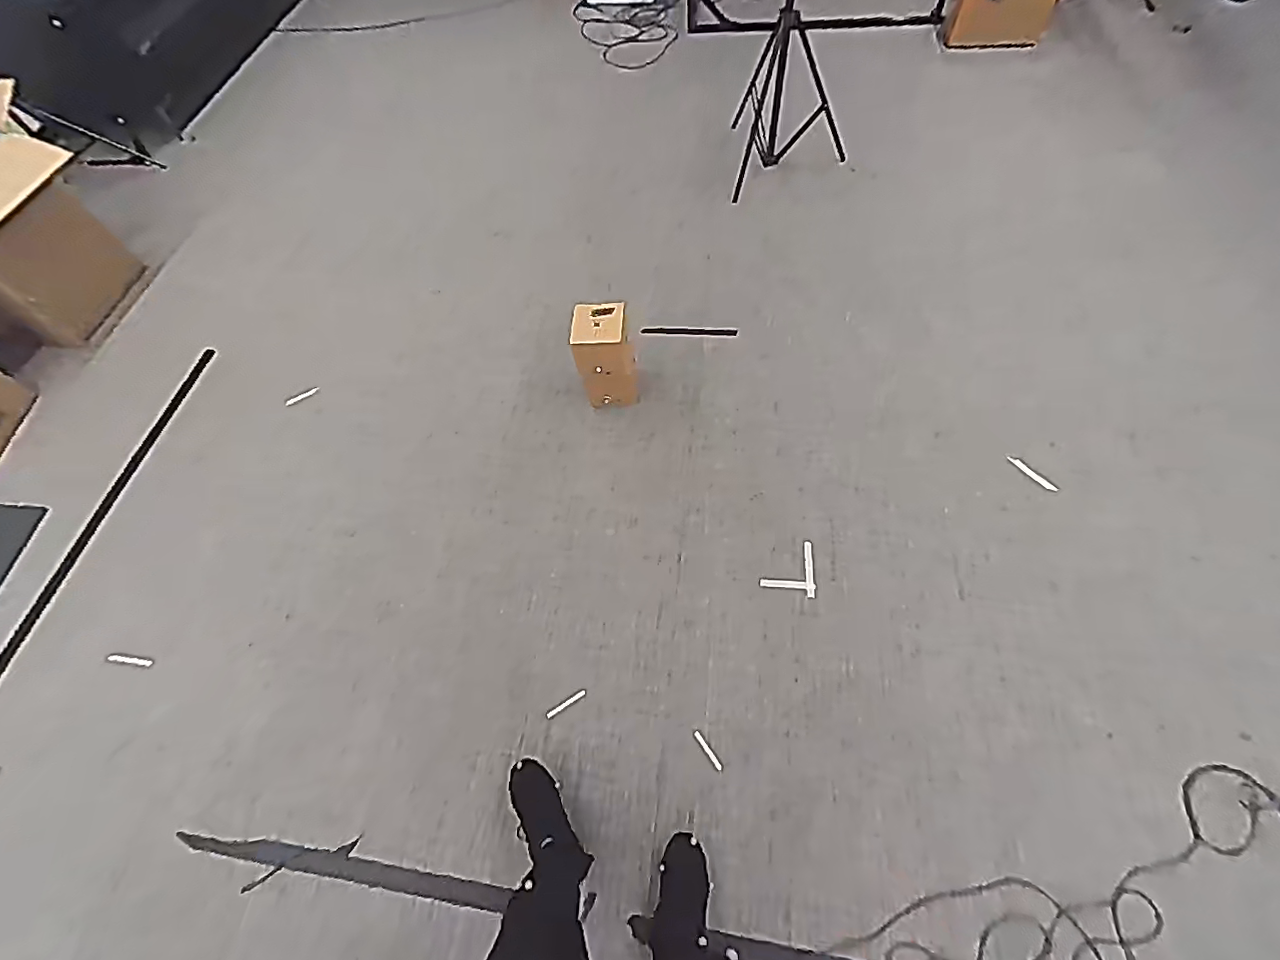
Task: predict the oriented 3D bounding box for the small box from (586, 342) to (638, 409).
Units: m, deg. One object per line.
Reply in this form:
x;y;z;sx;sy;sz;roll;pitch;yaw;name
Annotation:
-0.097;-0.373;1.940;0.168;0.176;0.179;-1;61;5;small box

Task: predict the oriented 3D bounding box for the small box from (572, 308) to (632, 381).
-0.119;-0.449;1.796;0.168;0.176;0.179;0;61;7;small box
